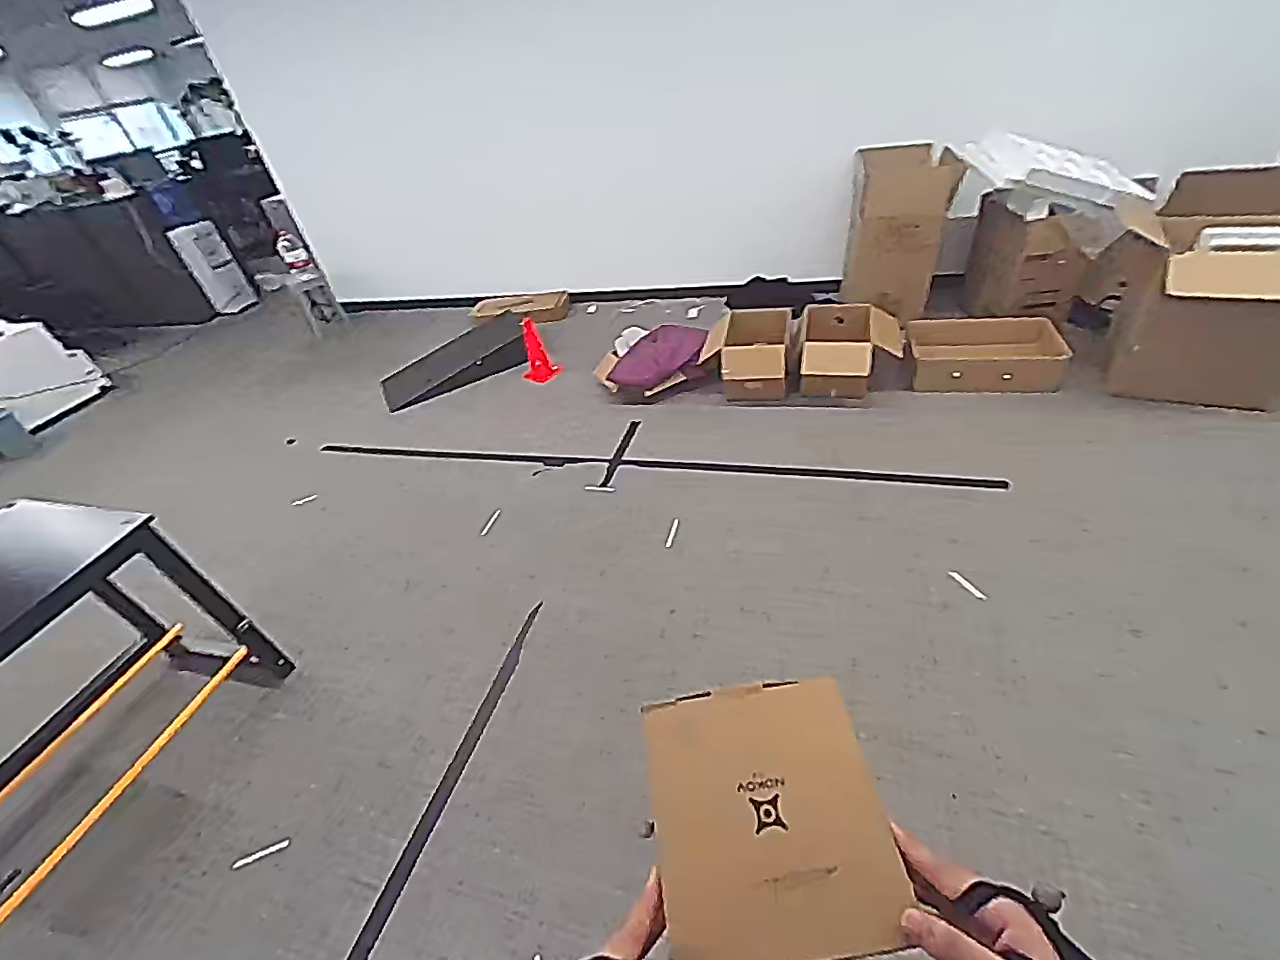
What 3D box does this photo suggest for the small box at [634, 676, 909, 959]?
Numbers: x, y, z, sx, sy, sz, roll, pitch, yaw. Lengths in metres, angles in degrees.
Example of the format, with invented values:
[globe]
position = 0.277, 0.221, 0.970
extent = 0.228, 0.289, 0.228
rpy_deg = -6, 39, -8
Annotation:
[small box]
position = 0.086, 0.292, 0.457
extent = 0.168, 0.176, 0.179
rpy_deg = -7, 48, -2
